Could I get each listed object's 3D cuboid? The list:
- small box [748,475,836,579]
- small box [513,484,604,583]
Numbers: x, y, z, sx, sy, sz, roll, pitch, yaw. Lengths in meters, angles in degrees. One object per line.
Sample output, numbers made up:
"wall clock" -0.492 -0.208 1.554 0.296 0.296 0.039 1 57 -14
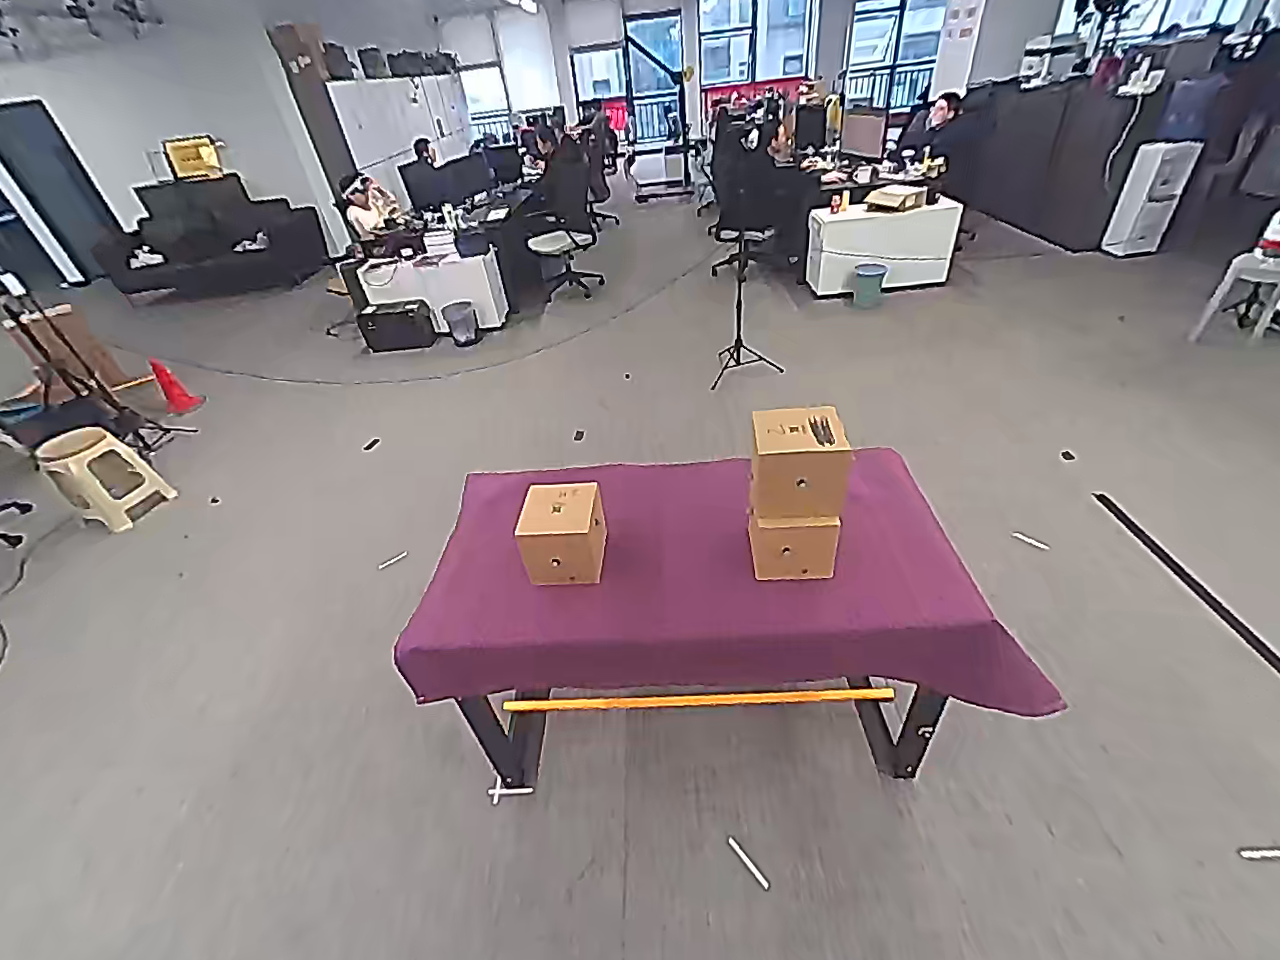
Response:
"small box" 0.335 0.110 1.222 0.168 0.176 0.179 -3 37 6
"small box" -0.182 0.129 1.278 0.168 0.176 0.179 -2 38 6
